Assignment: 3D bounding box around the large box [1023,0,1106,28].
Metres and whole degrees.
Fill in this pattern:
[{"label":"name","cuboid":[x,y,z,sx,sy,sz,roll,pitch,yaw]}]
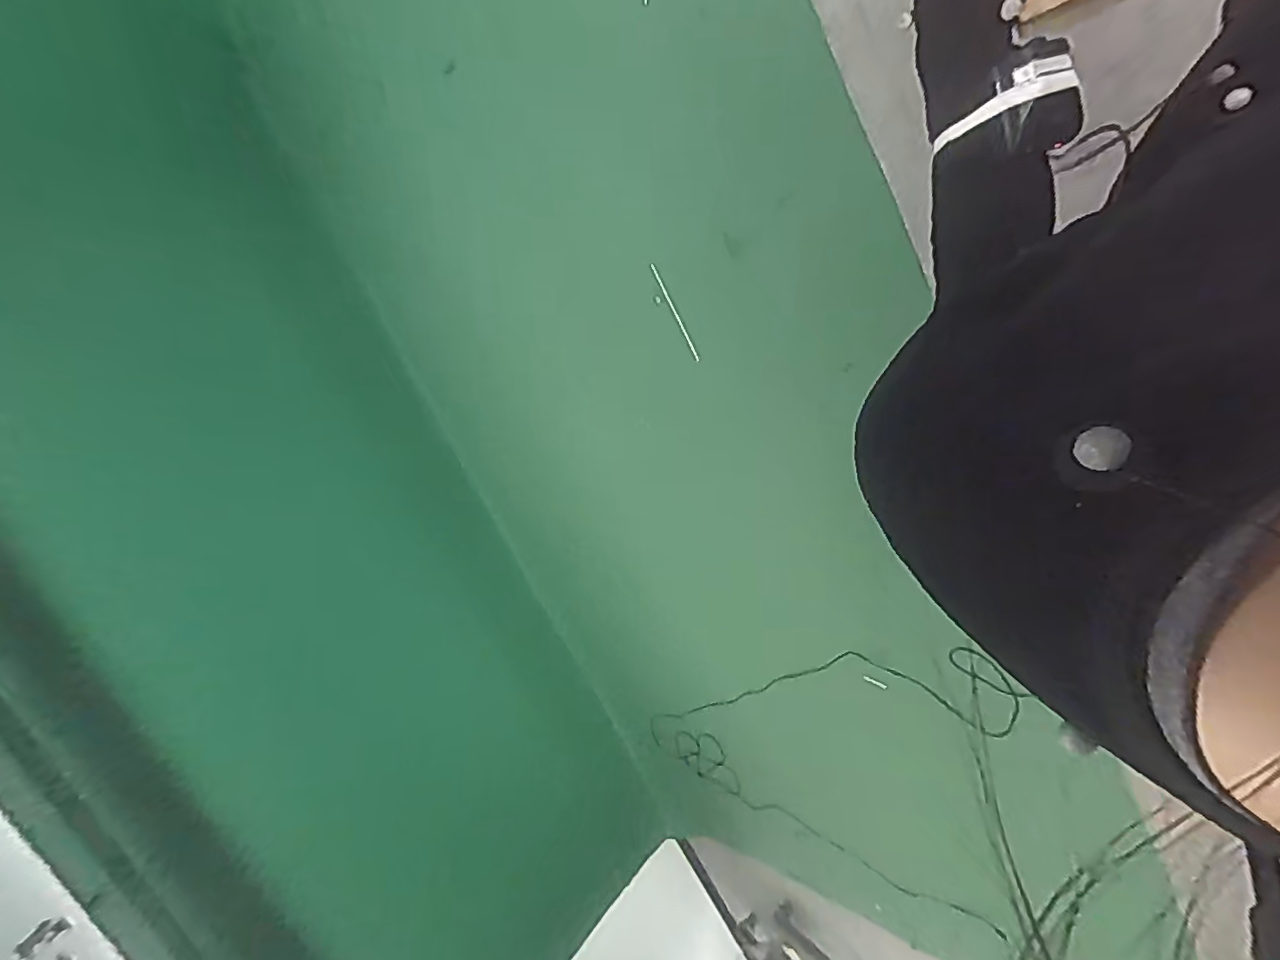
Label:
[{"label":"large box","cuboid":[0.451,-0.551,0.307,0.408,0.320,0.320,-4,118,39]}]
